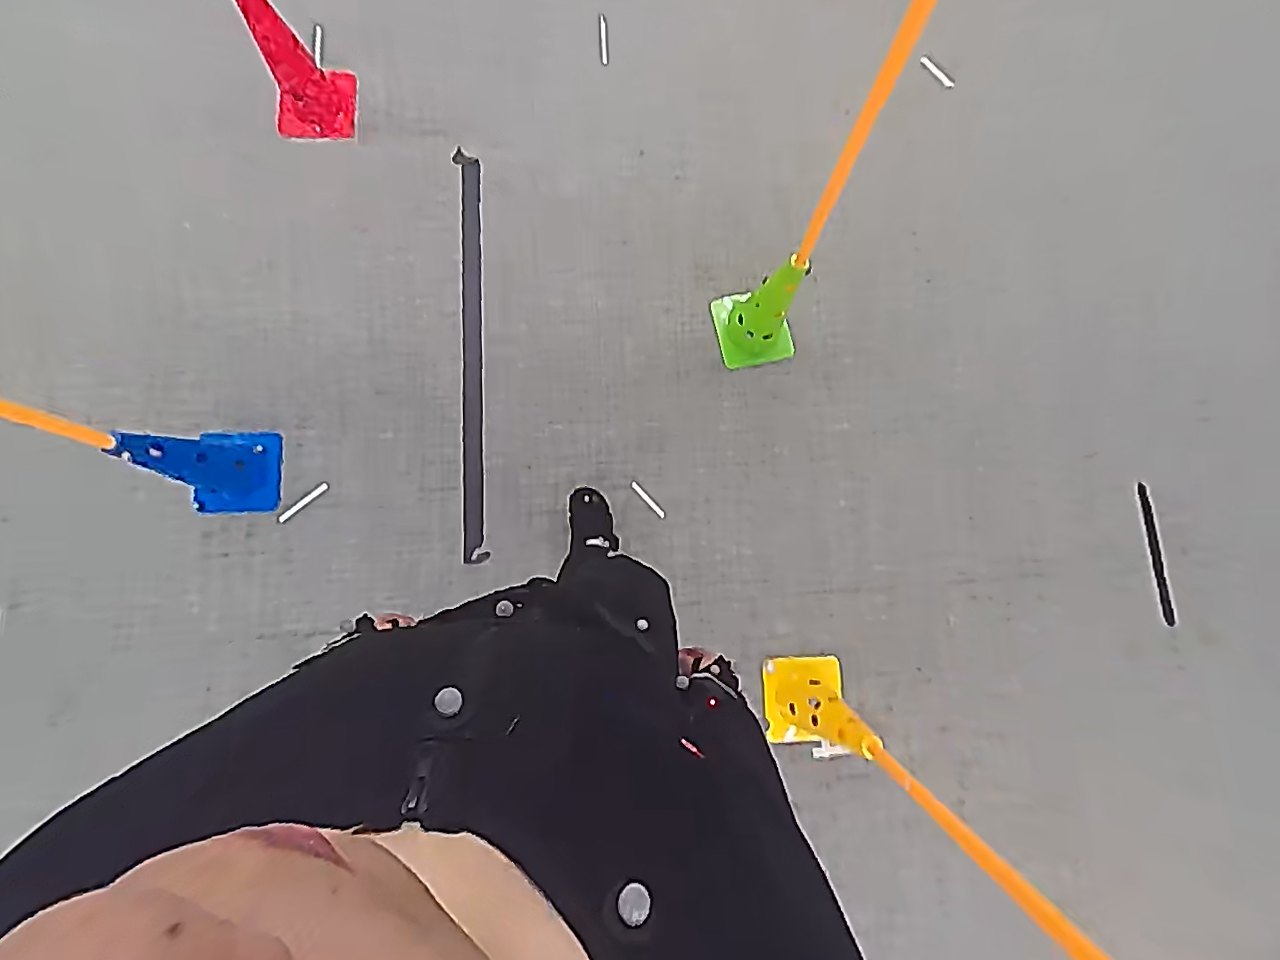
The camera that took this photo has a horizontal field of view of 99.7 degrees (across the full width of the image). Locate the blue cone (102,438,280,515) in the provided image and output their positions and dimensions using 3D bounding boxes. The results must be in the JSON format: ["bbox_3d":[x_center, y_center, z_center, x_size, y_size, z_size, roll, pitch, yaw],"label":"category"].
[{"bbox_3d":[-0.976,-0.031,1.169,0.193,0.380,0.192,0,83,-4],"label":"blue cone"}]

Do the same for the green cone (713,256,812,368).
[{"bbox_3d":[0.322,-0.434,1.302,0.200,0.368,0.202,-13,85,-5],"label":"green cone"}]
